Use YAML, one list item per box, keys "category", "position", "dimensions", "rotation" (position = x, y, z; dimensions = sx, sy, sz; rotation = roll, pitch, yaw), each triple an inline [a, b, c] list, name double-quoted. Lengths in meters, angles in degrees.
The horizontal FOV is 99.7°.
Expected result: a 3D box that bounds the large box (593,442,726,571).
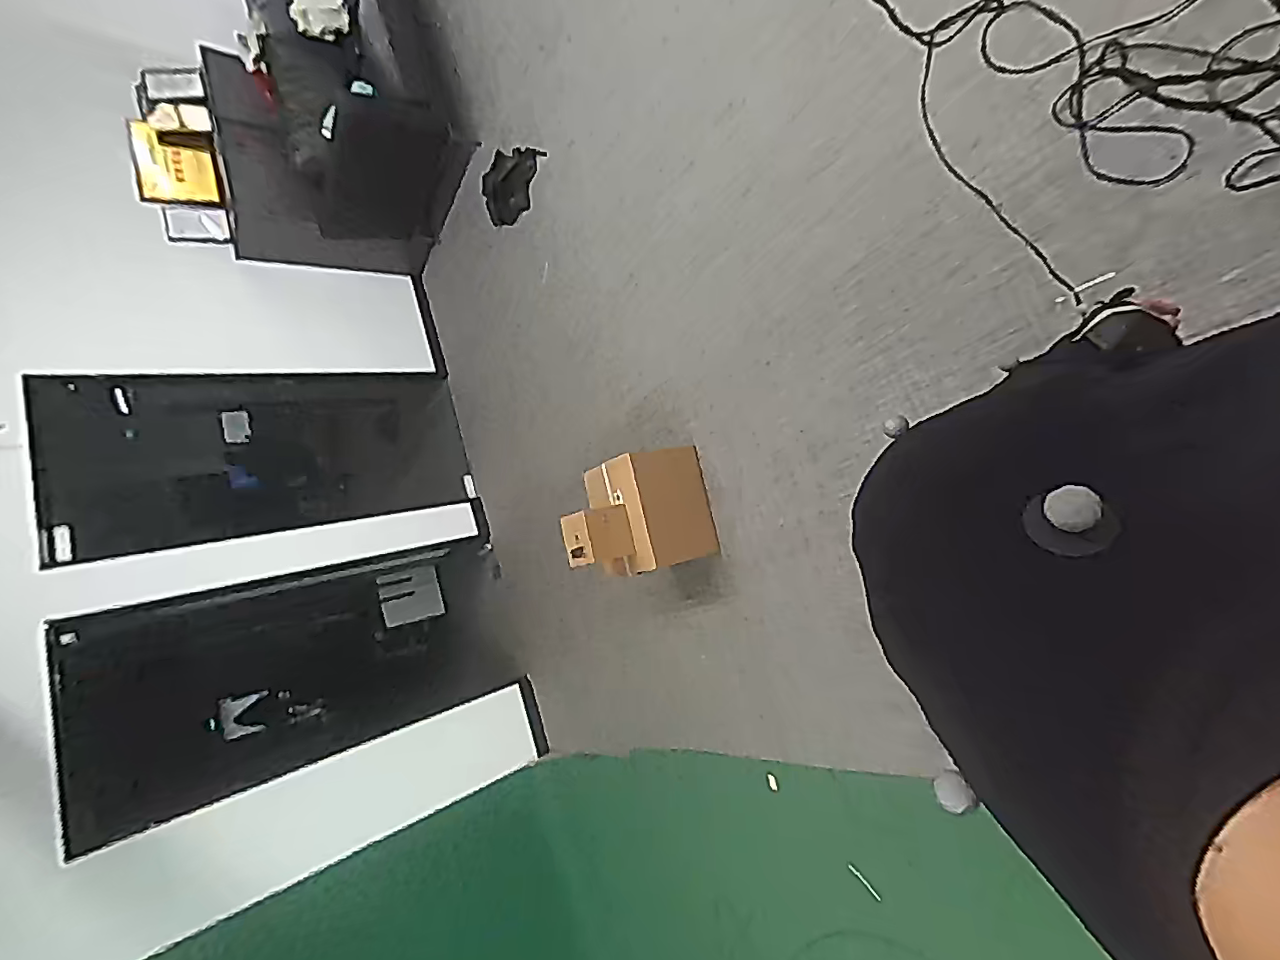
- category: "large box"
  position: [0.068, 0.100, 1.998]
  dimensions: [0.320, 0.320, 0.408]
  rotation: [-21, 79, 51]
